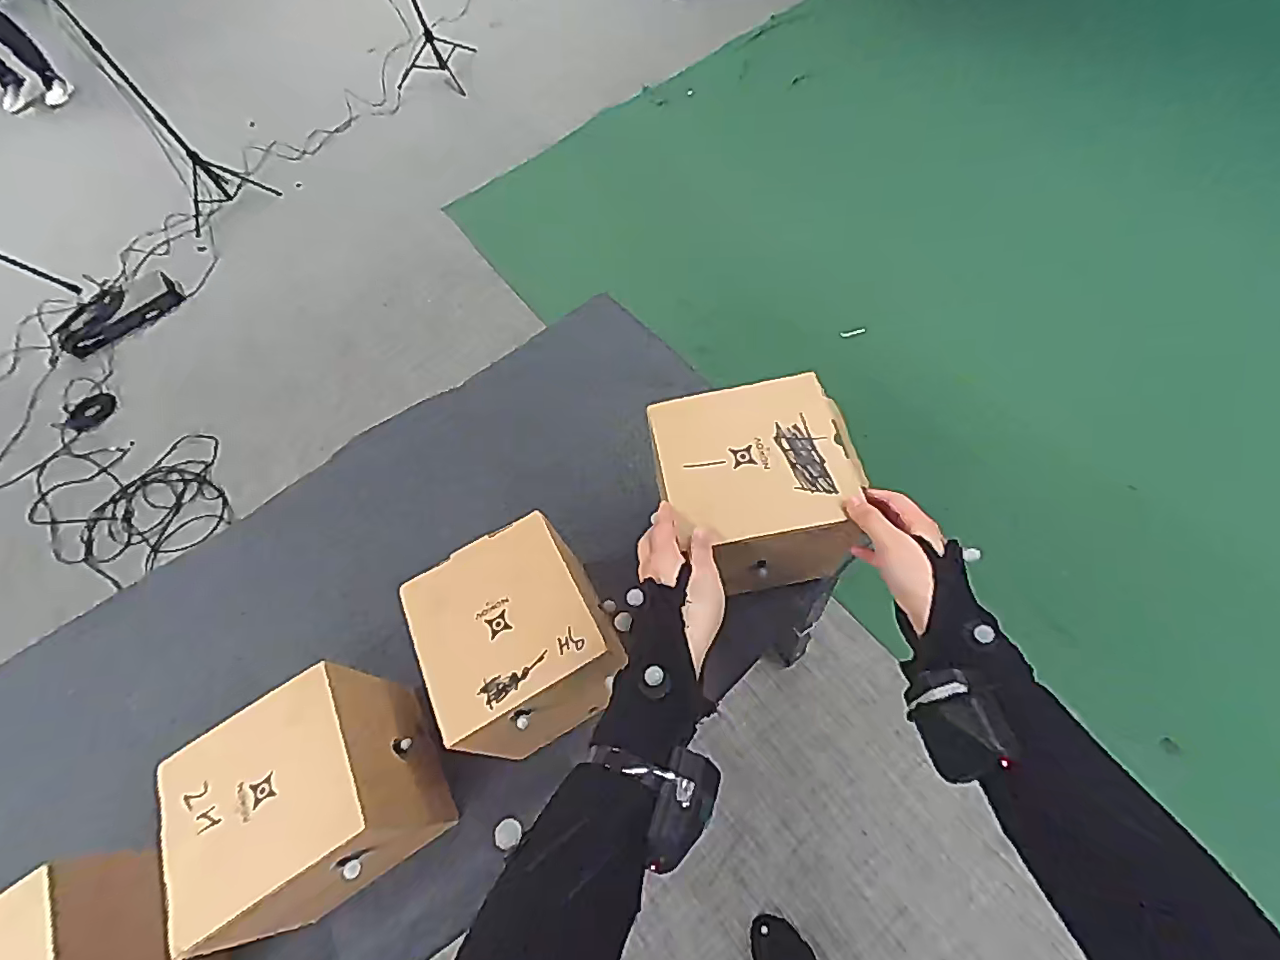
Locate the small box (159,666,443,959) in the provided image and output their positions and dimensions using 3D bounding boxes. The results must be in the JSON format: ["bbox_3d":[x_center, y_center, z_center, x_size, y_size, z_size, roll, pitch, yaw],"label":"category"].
[{"bbox_3d":[-0.324,0.319,0.545,0.179,0.176,0.168,-32,58,-6],"label":"small box"}]

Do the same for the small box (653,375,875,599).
[{"bbox_3d":[0.115,0.016,0.571,0.179,0.176,0.168,-10,62,2],"label":"small box"}]

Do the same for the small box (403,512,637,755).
[{"bbox_3d":[-0.122,0.172,0.587,0.168,0.176,0.179,-30,58,-4],"label":"small box"}]
